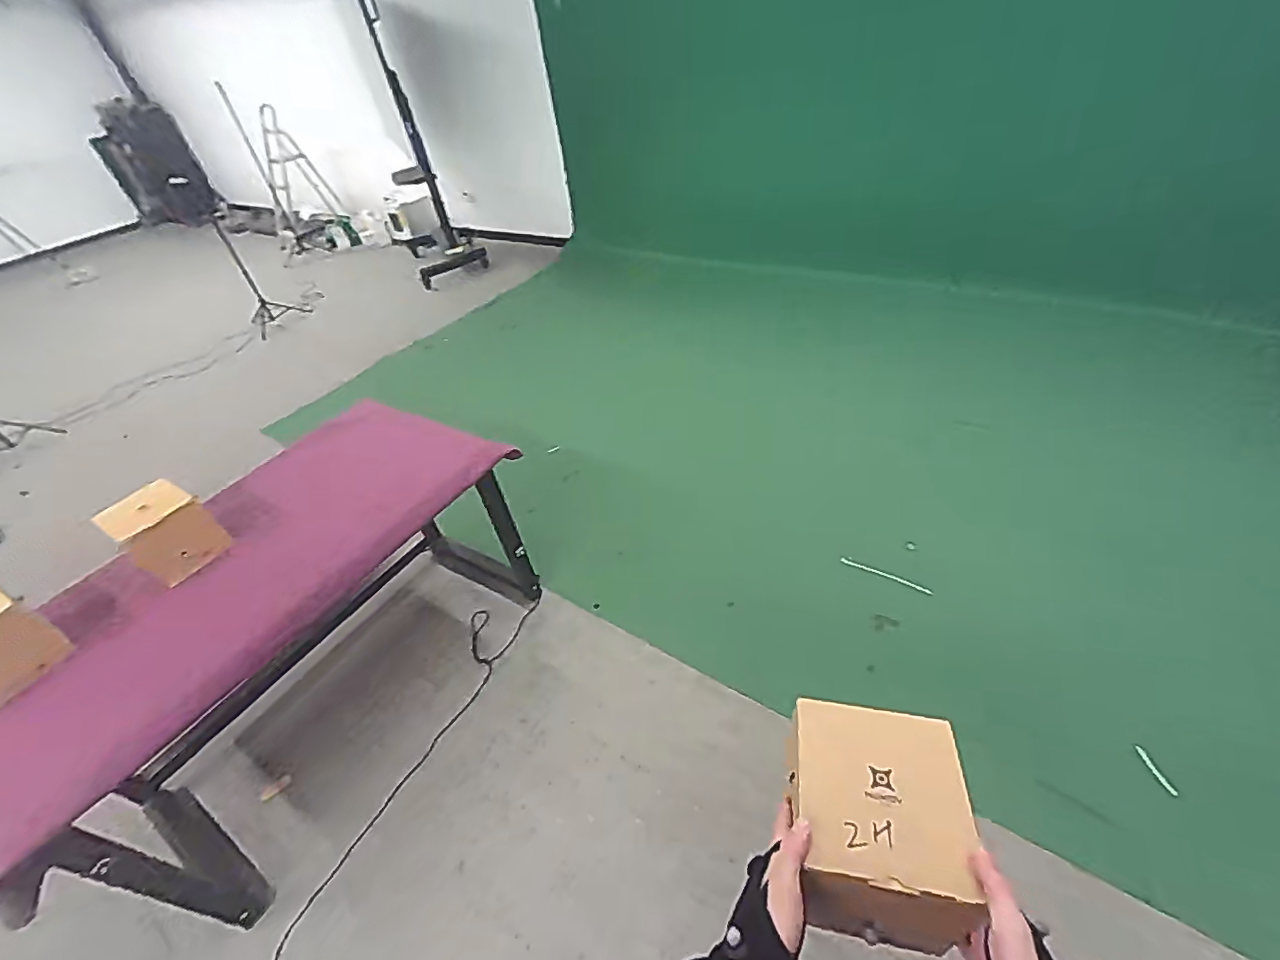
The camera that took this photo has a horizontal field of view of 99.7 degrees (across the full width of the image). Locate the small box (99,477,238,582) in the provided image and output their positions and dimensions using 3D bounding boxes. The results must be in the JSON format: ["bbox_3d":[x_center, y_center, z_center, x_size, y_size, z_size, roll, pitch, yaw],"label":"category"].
[{"bbox_3d":[-1.158,0.123,1.338,0.179,0.176,0.168,19,49,27],"label":"small box"}]

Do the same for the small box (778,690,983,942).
[{"bbox_3d":[0.244,0.367,0.600,0.168,0.176,0.179,4,39,12],"label":"small box"}]
